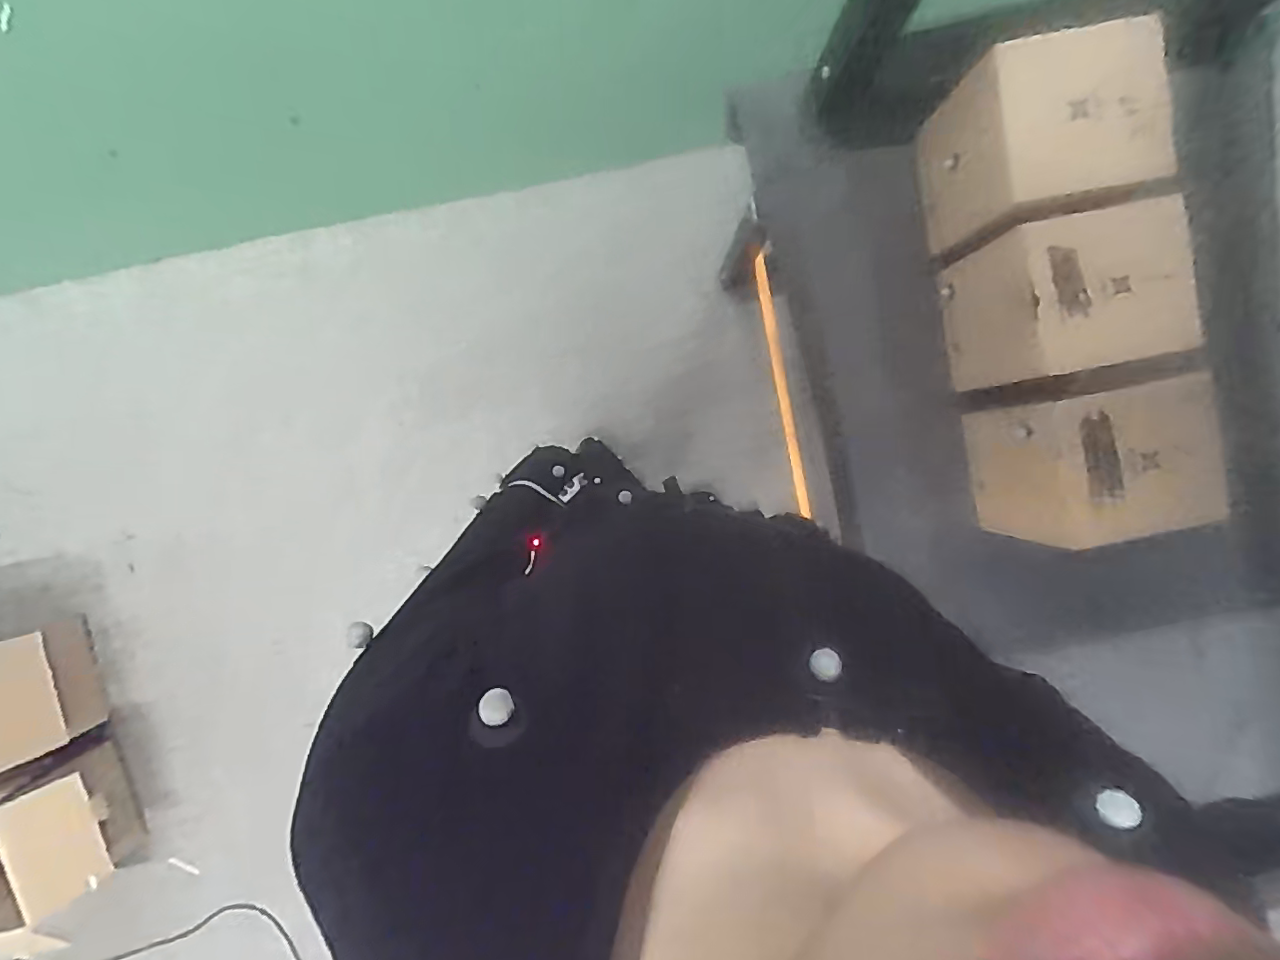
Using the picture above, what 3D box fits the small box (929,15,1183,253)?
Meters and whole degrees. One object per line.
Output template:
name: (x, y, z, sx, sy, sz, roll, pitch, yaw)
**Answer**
small box: (0.465, -0.385, 0.635, 0.179, 0.176, 0.168, -9, 95, 1)
